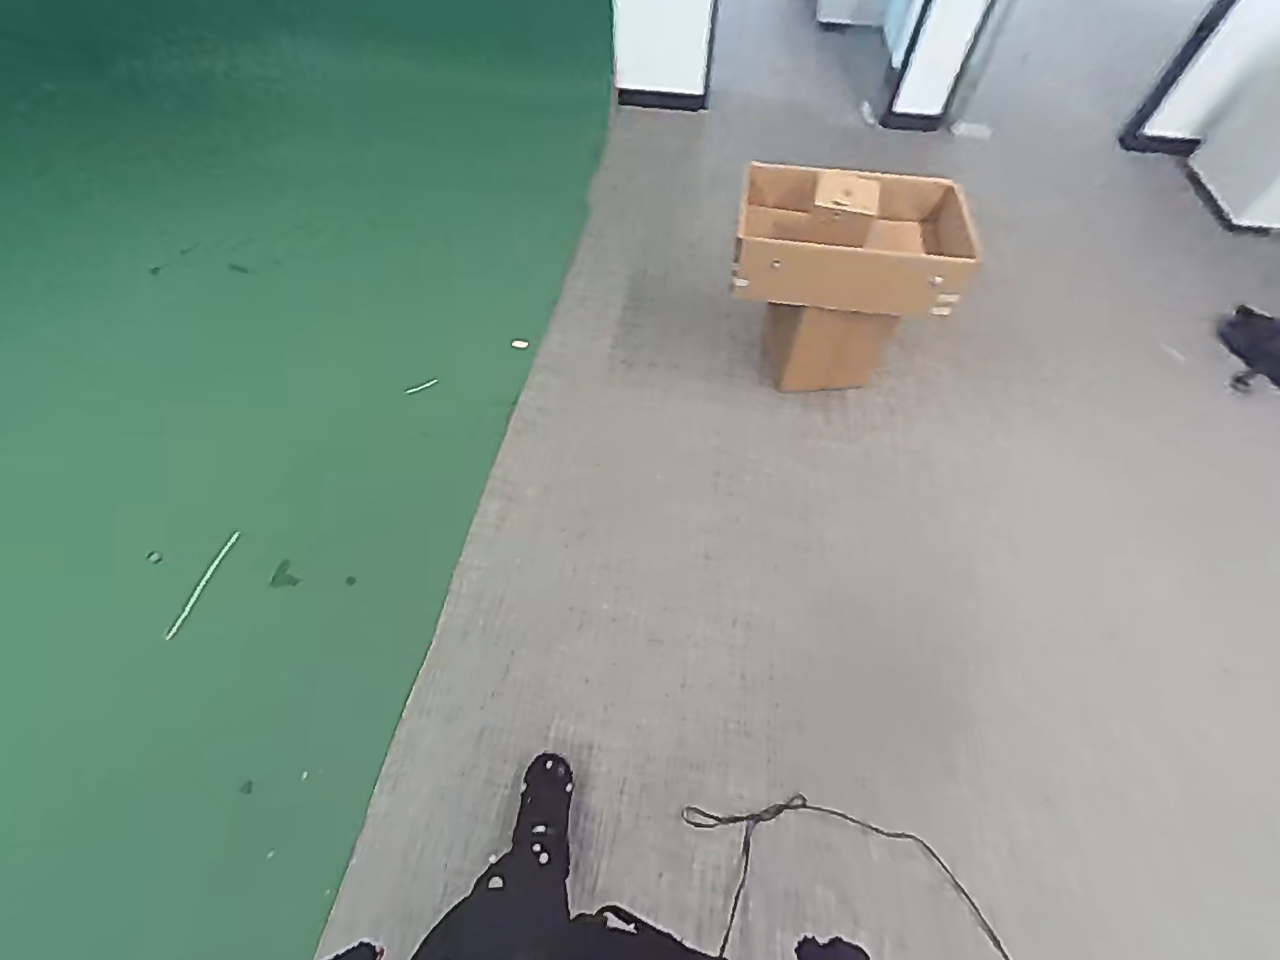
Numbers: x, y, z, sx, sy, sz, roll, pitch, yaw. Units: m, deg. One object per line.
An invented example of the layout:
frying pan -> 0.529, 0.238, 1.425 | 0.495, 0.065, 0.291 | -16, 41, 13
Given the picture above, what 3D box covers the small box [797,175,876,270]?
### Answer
small box -> 0.559, -0.734, 1.548 | 0.168, 0.176, 0.179 | 14, 57, 9
